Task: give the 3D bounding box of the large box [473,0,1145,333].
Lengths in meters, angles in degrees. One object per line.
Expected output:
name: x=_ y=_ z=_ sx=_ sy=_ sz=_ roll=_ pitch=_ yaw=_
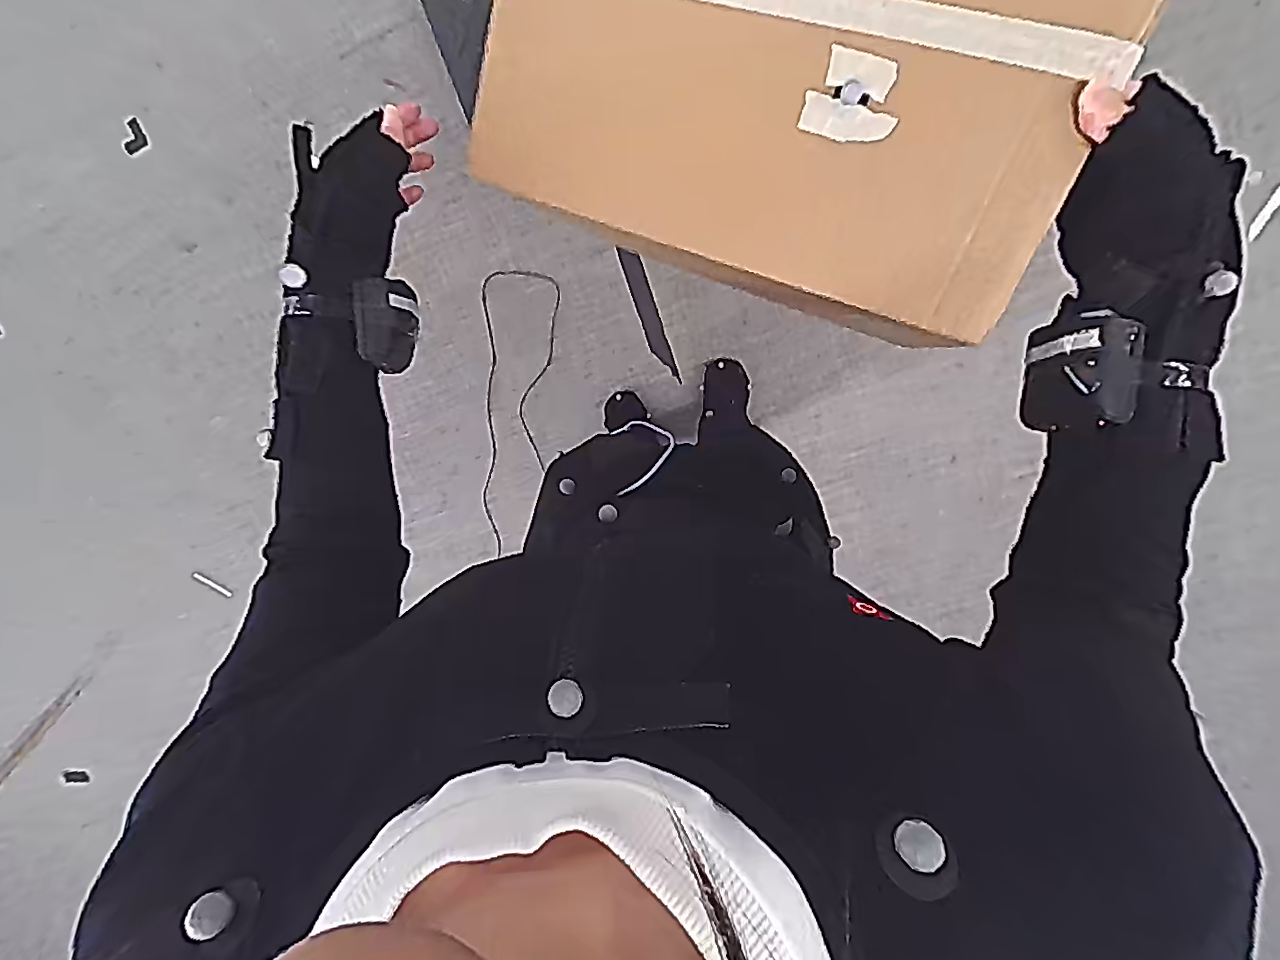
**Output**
large box: x=0.130 y=-0.342 z=0.483 sx=0.408 sy=0.320 sz=0.320 roll=22 pitch=110 yaw=11
